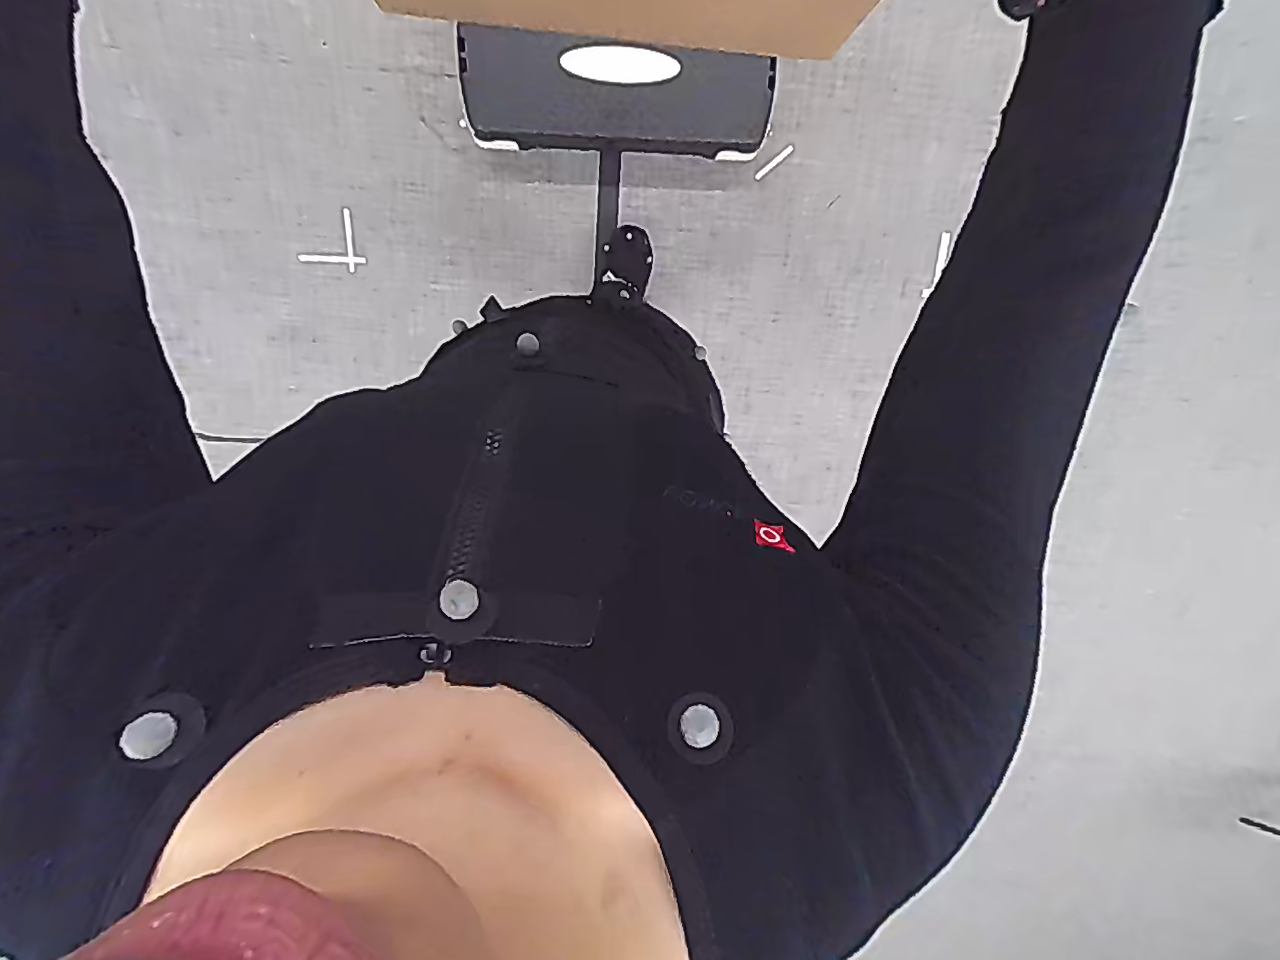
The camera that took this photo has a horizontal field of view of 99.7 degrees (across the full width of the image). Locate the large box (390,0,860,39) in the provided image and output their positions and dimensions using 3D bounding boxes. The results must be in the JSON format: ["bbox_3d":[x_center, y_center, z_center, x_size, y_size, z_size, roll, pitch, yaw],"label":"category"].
[{"bbox_3d":[-0.007,-0.509,0.300,0.408,0.320,0.320,2,107,-4],"label":"large box"}]
